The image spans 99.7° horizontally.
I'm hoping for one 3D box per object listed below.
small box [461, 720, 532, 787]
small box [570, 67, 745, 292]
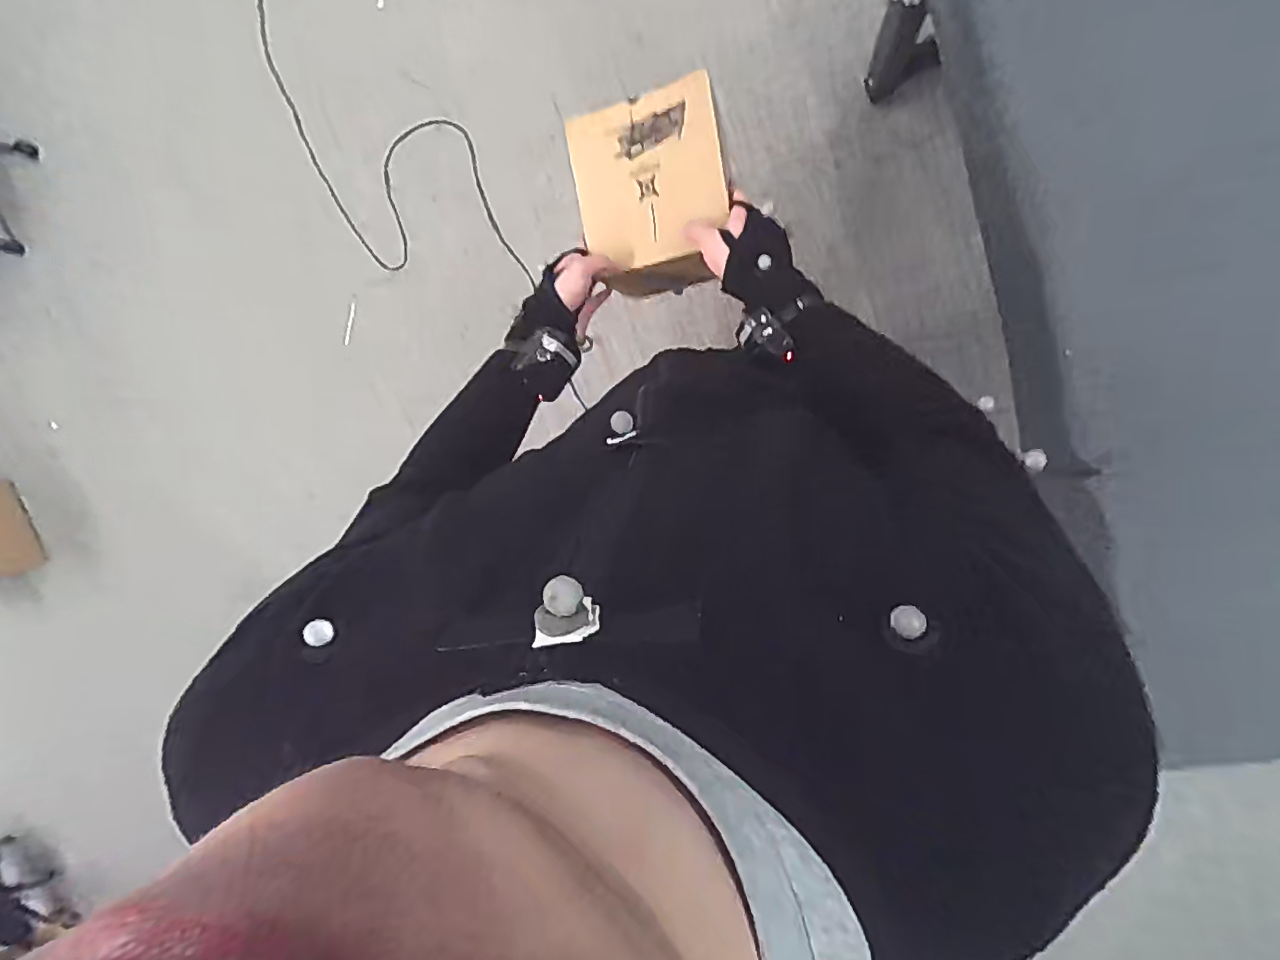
[{"bbox_3d":[-0.529,1.032,2.030,0.179,0.176,0.168,-20,101,20],"label":"small box"},{"bbox_3d":[0.032,-0.347,0.666,0.168,0.176,0.179,-8,99,16],"label":"small box"}]
